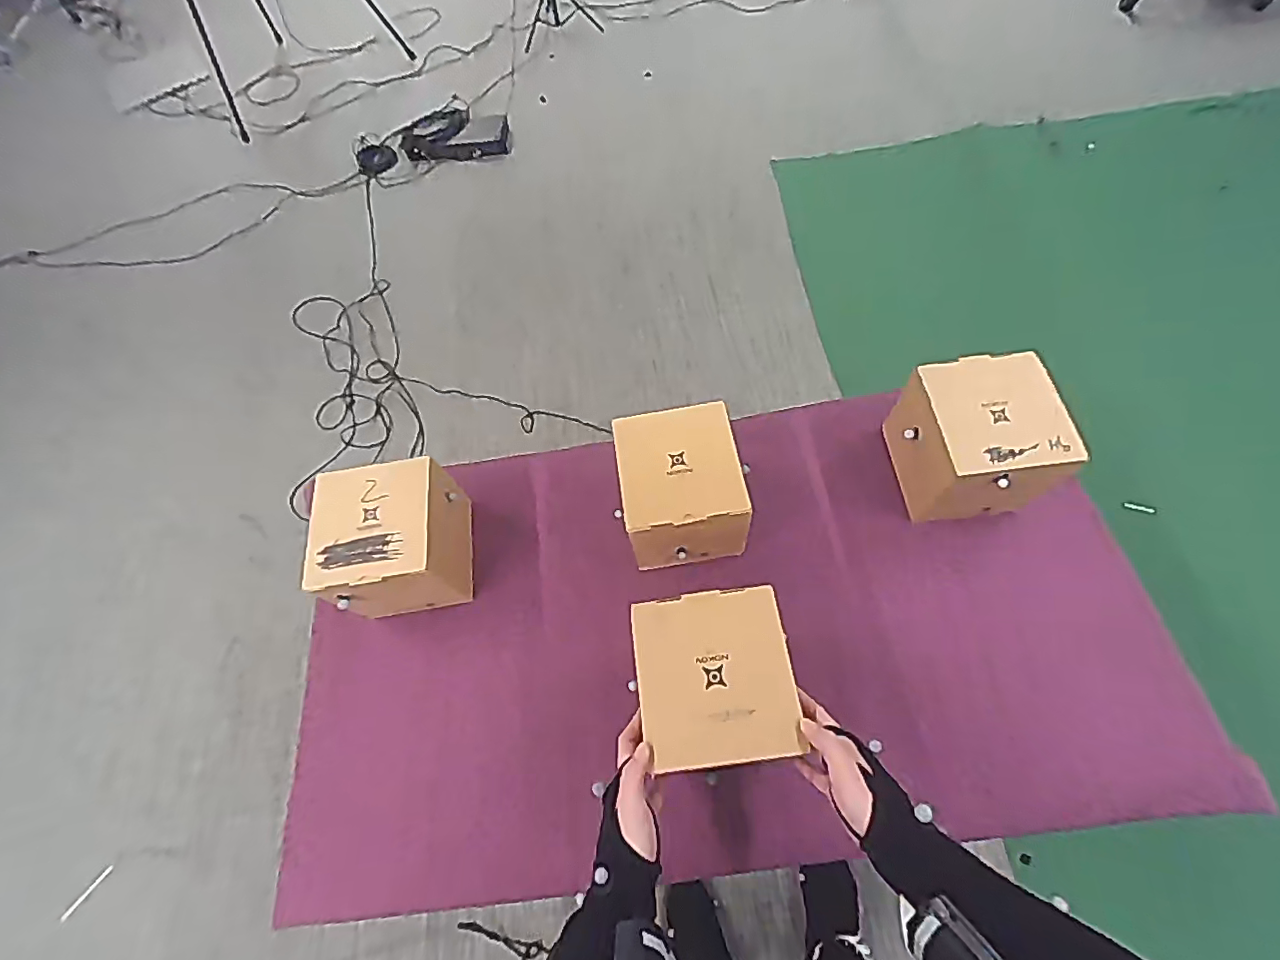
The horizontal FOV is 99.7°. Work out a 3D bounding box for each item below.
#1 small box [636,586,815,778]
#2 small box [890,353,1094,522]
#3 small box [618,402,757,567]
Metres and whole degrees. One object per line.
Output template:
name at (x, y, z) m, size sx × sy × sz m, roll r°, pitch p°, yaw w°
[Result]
small box at (0.089, 0.243, 0.635) m, size 0.168 × 0.176 × 0.179 m, roll -8°, pitch 60°, yaw 3°
small box at (0.487, -0.055, 0.786) m, size 0.168 × 0.176 × 0.179 m, roll -7°, pitch 64°, yaw 4°
small box at (0.063, 0.012, 0.797) m, size 0.168 × 0.176 × 0.179 m, roll -9°, pitch 64°, yaw 0°
